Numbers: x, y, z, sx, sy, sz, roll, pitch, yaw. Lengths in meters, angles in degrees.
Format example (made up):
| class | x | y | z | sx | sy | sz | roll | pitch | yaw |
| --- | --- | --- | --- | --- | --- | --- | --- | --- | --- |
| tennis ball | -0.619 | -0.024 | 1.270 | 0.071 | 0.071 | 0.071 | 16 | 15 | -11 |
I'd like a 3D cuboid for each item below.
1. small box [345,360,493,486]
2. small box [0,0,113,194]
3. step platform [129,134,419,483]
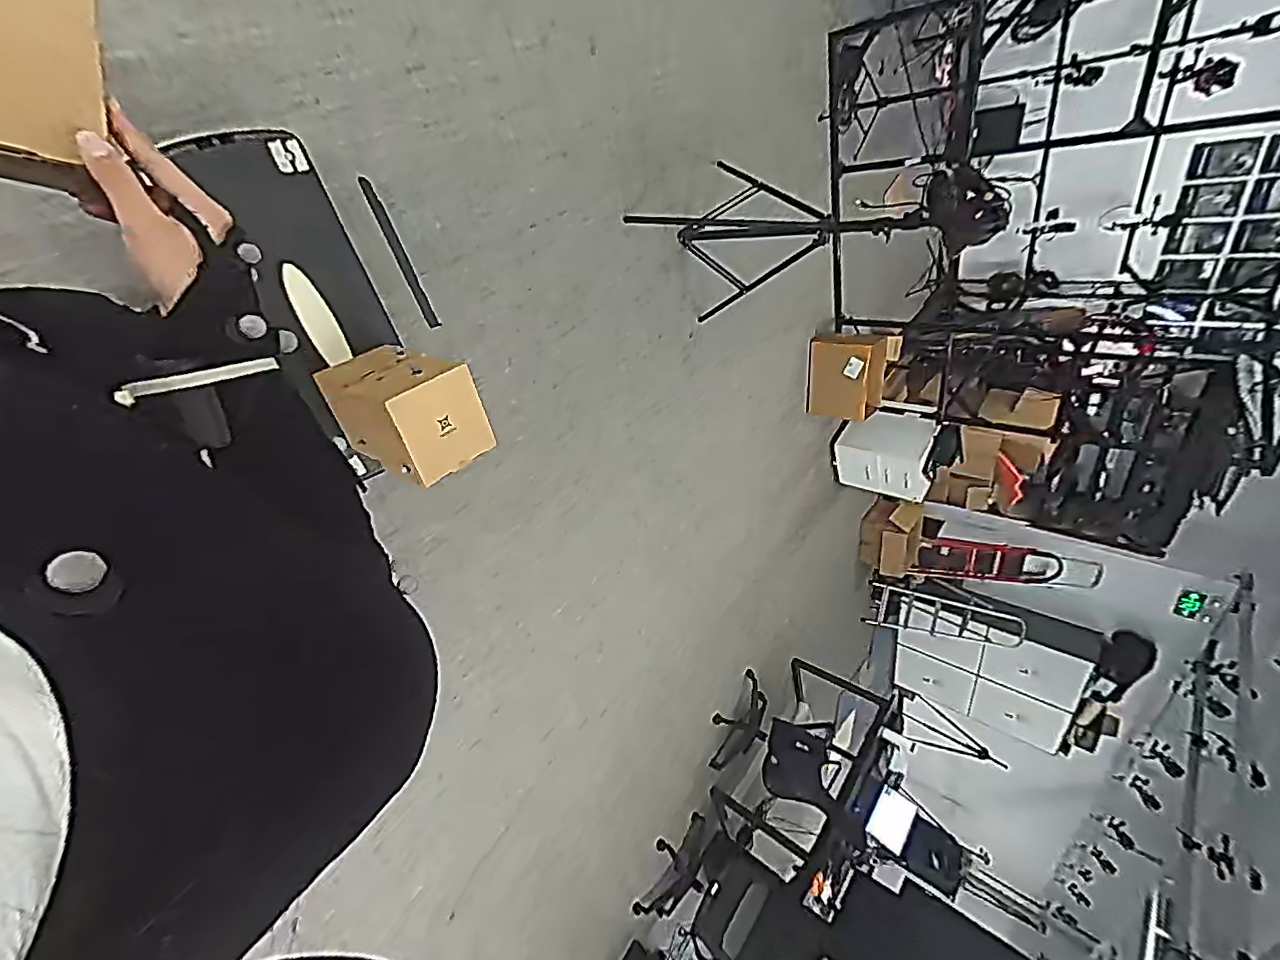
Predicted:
| class | x | y | z | sx | sy | sz | roll | pitch | yaw |
| --- | --- | --- | --- | --- | --- | --- | --- | --- | --- |
| small box | -0.413 | -0.116 | 1.013 | 0.168 | 0.176 | 0.179 | -39 | 132 | -35 |
| small box | -0.417 | -0.283 | 0.303 | 0.168 | 0.176 | 0.179 | -5 | 108 | -43 |
| step platform | -0.686 | -0.326 | 1.146 | 0.286 | 0.204 | 0.684 | -43 | 132 | -34 |
